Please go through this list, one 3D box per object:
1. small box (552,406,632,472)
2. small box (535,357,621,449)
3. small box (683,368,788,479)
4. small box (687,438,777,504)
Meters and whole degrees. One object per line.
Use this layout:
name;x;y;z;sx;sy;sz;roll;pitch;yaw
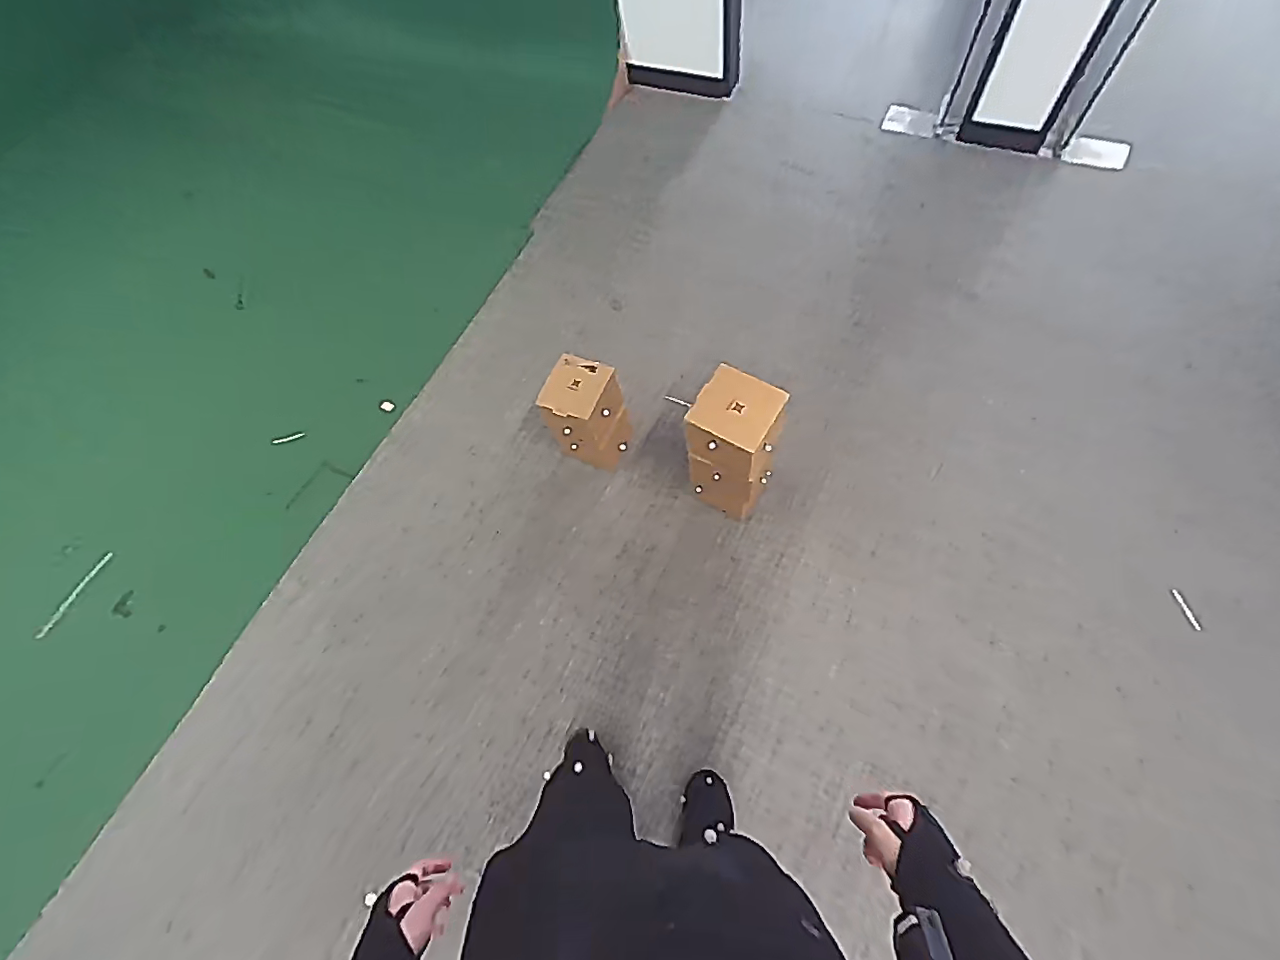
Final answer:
small box;-0.142;-0.145;1.678;0.179;0.176;0.168;23;72;16
small box;-0.166;-0.212;1.530;0.168;0.176;0.179;20;71;15
small box;0.220;-0.123;1.257;0.179;0.176;0.168;29;74;19
small box;0.238;-0.058;1.404;0.179;0.176;0.168;25;73;17
